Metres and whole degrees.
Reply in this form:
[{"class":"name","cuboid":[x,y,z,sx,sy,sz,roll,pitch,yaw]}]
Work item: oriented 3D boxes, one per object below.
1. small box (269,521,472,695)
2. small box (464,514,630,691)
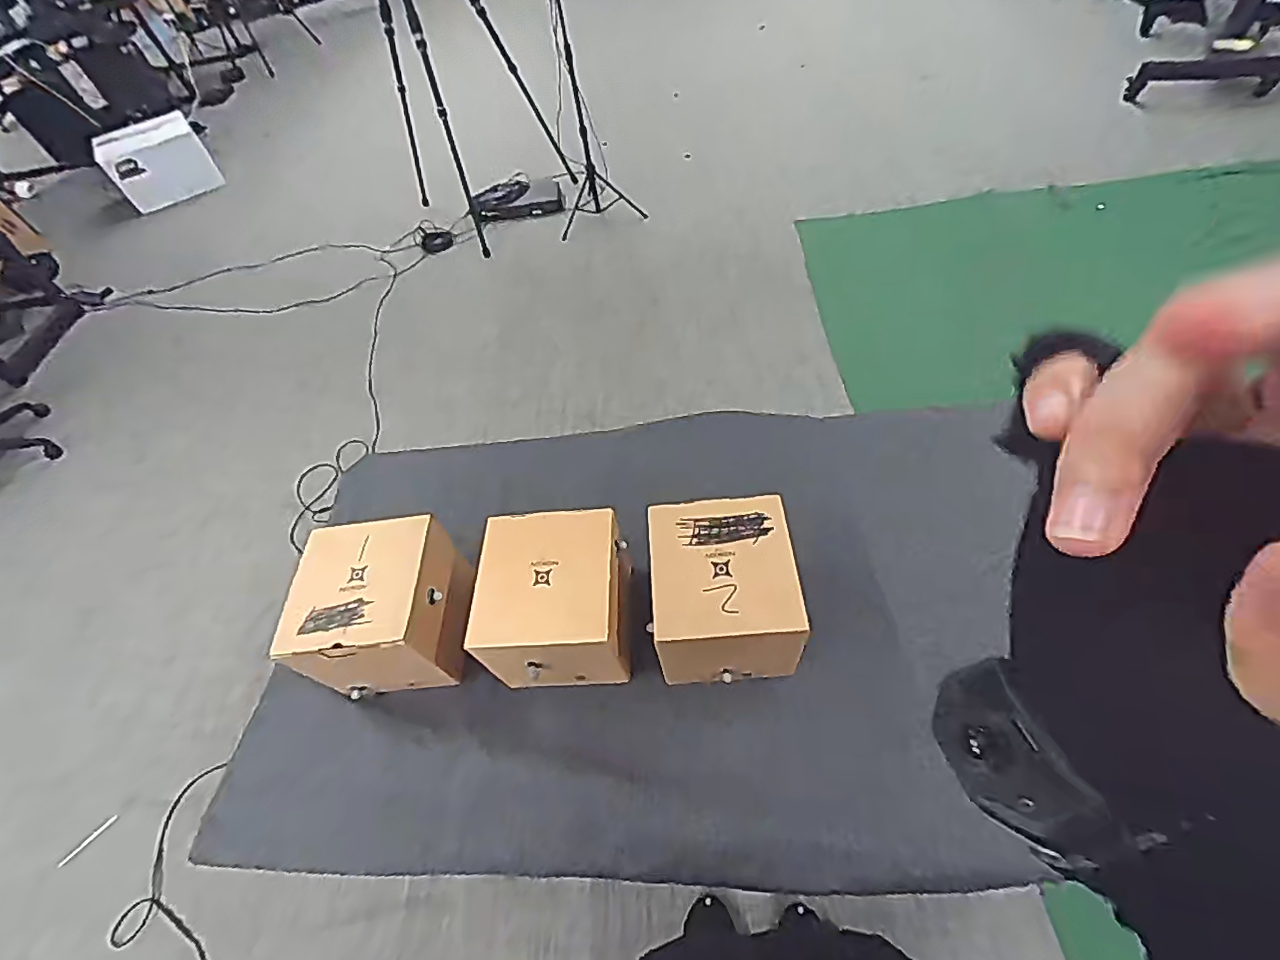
[{"class":"small box","cuboid":[-0.339,0.178,0.725,0.168,0.176,0.179,-7,52,3]},{"class":"small box","cuboid":[-0.105,0.166,0.700,0.168,0.176,0.179,-4,52,6]}]
